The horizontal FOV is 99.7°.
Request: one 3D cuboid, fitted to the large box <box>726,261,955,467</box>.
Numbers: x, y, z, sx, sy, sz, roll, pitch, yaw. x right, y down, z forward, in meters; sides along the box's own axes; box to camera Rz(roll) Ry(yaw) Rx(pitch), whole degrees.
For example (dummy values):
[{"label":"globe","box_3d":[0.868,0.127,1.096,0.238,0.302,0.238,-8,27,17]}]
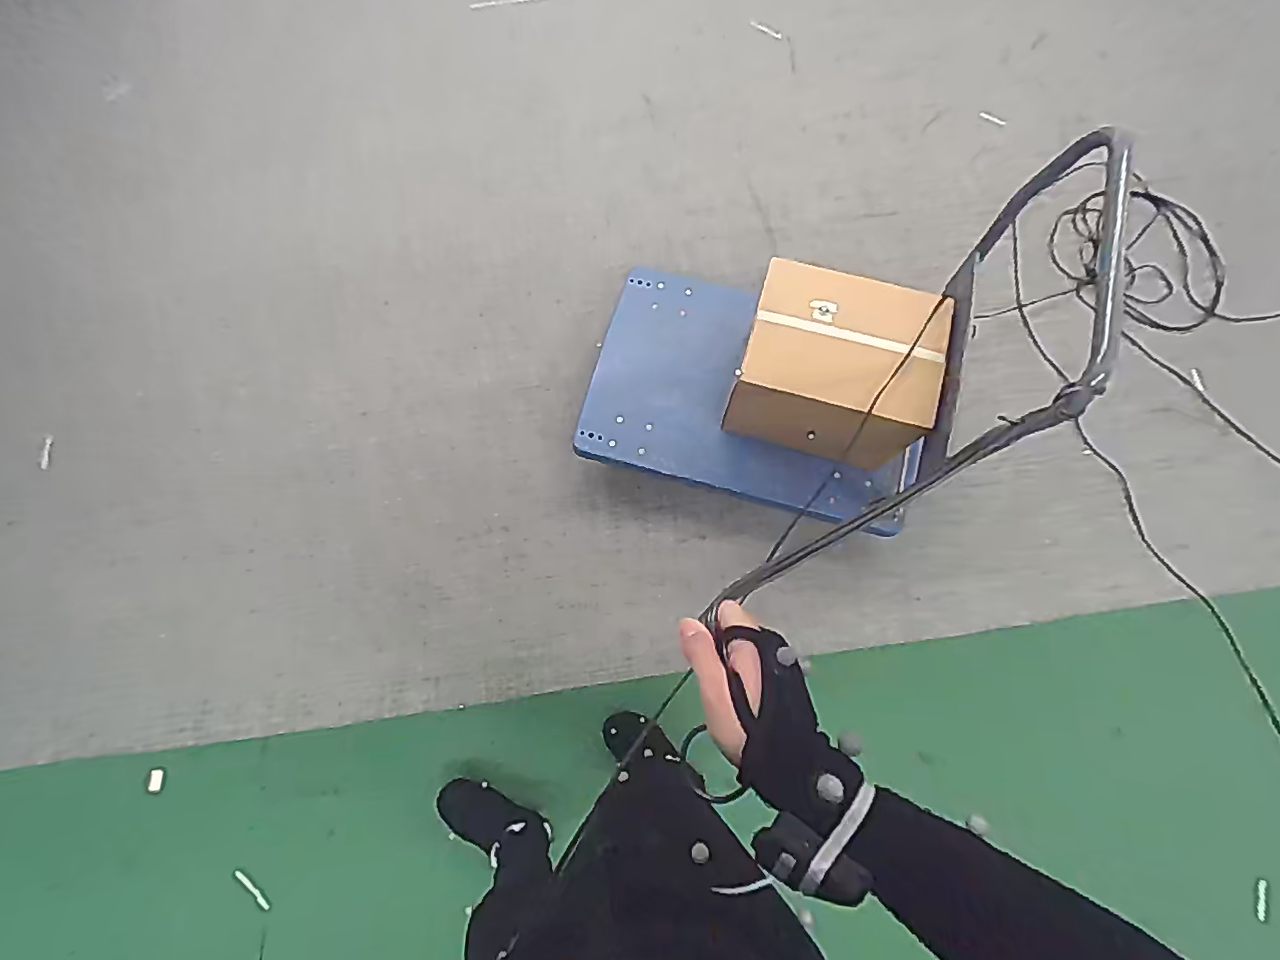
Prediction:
[{"label":"large box","box_3d":[0.446,-0.253,1.272,0.408,0.320,0.320,15,76,6]}]
